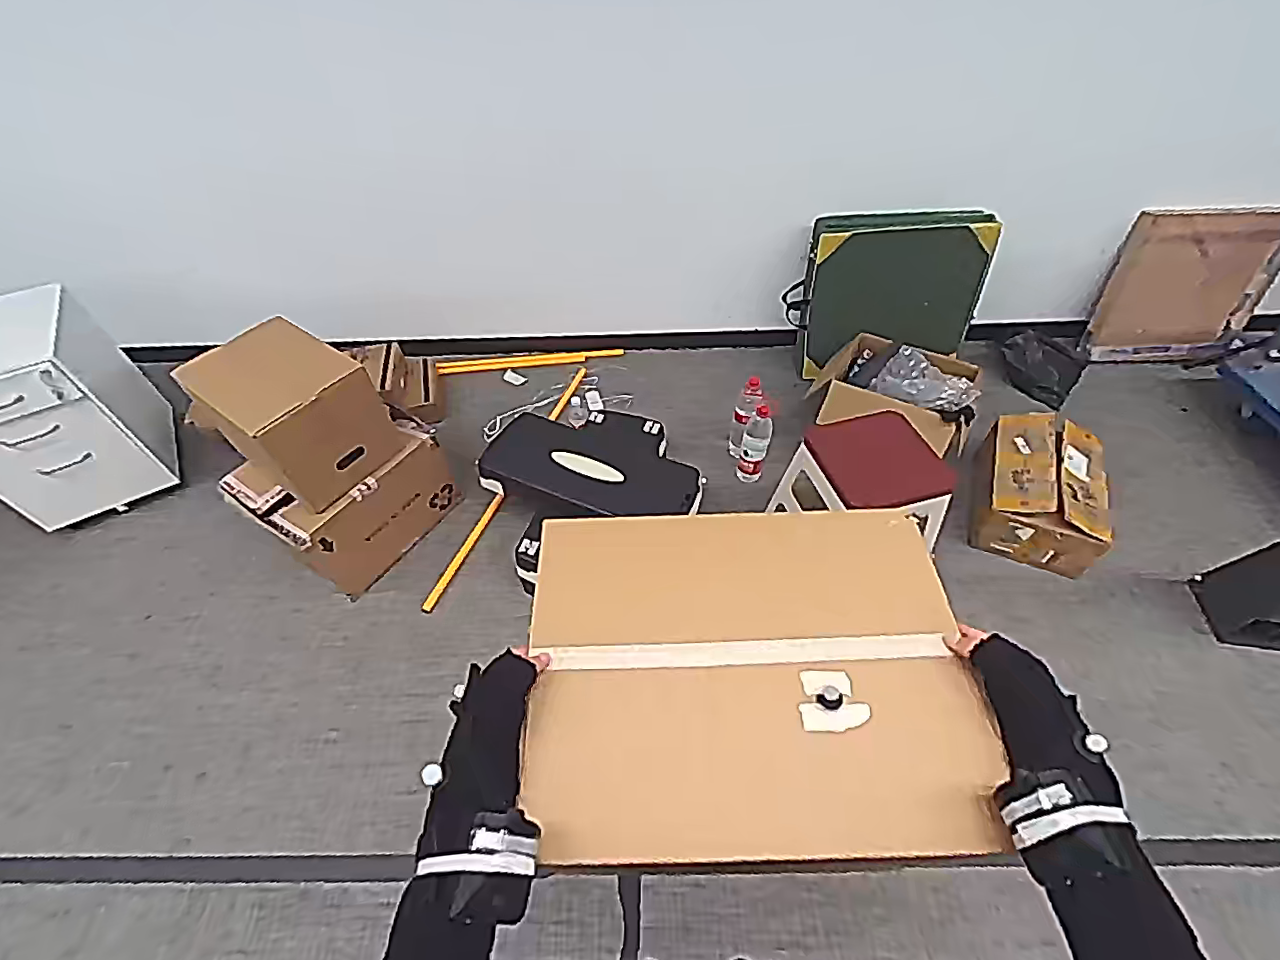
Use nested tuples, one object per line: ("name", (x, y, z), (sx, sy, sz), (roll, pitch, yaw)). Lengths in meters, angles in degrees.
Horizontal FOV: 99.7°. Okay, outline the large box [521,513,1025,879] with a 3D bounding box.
("large box", (0.101, 0.256, 0.626), (0.408, 0.320, 0.320), (-2, 53, 0))
